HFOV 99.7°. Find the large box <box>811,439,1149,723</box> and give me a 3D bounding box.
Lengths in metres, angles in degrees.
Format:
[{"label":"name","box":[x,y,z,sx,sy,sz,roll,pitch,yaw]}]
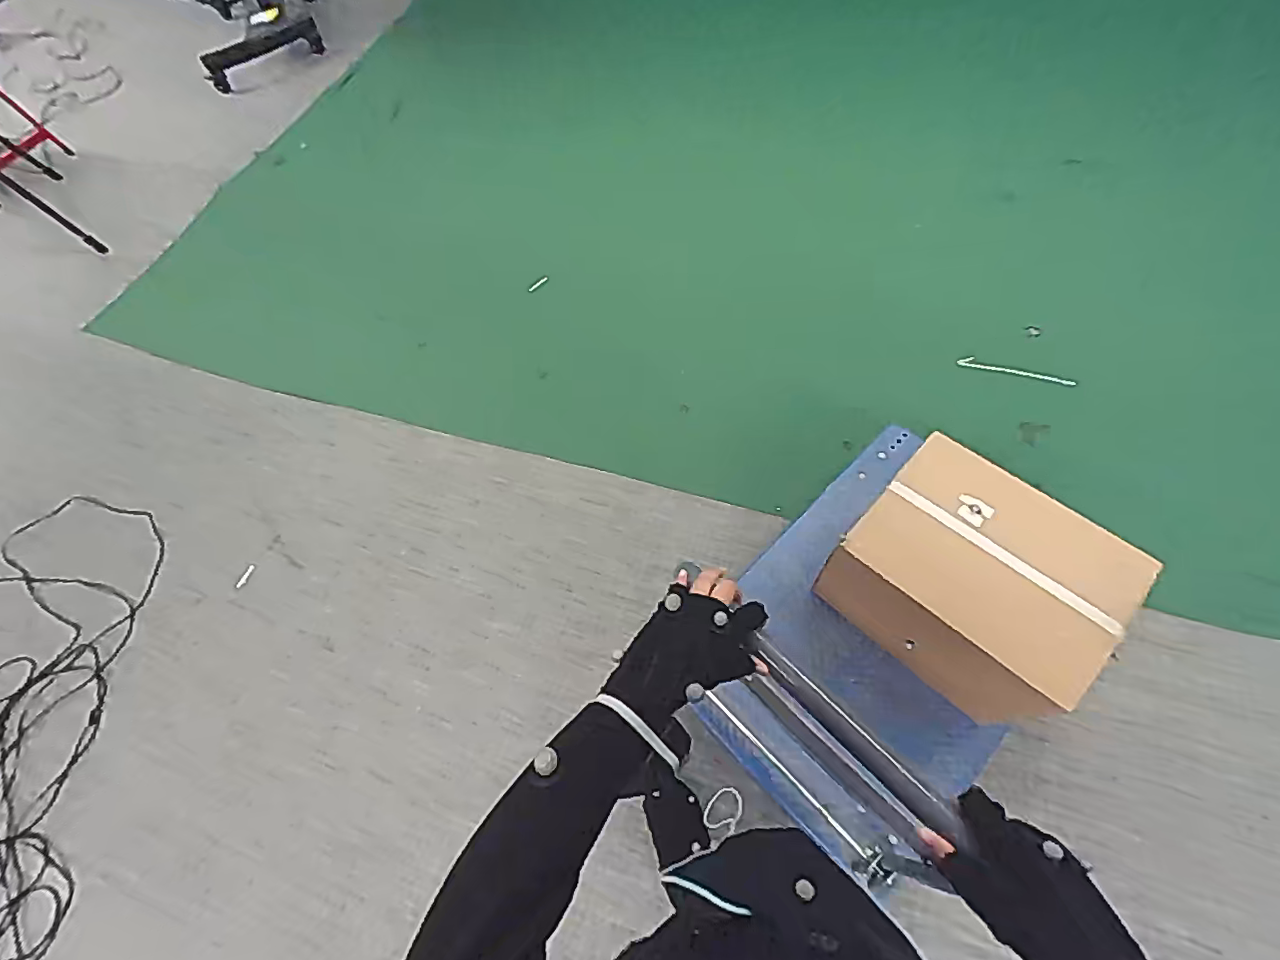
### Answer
[{"label":"large box","box":[0.606,0.201,1.049,0.408,0.320,0.320,39,74,25]}]
